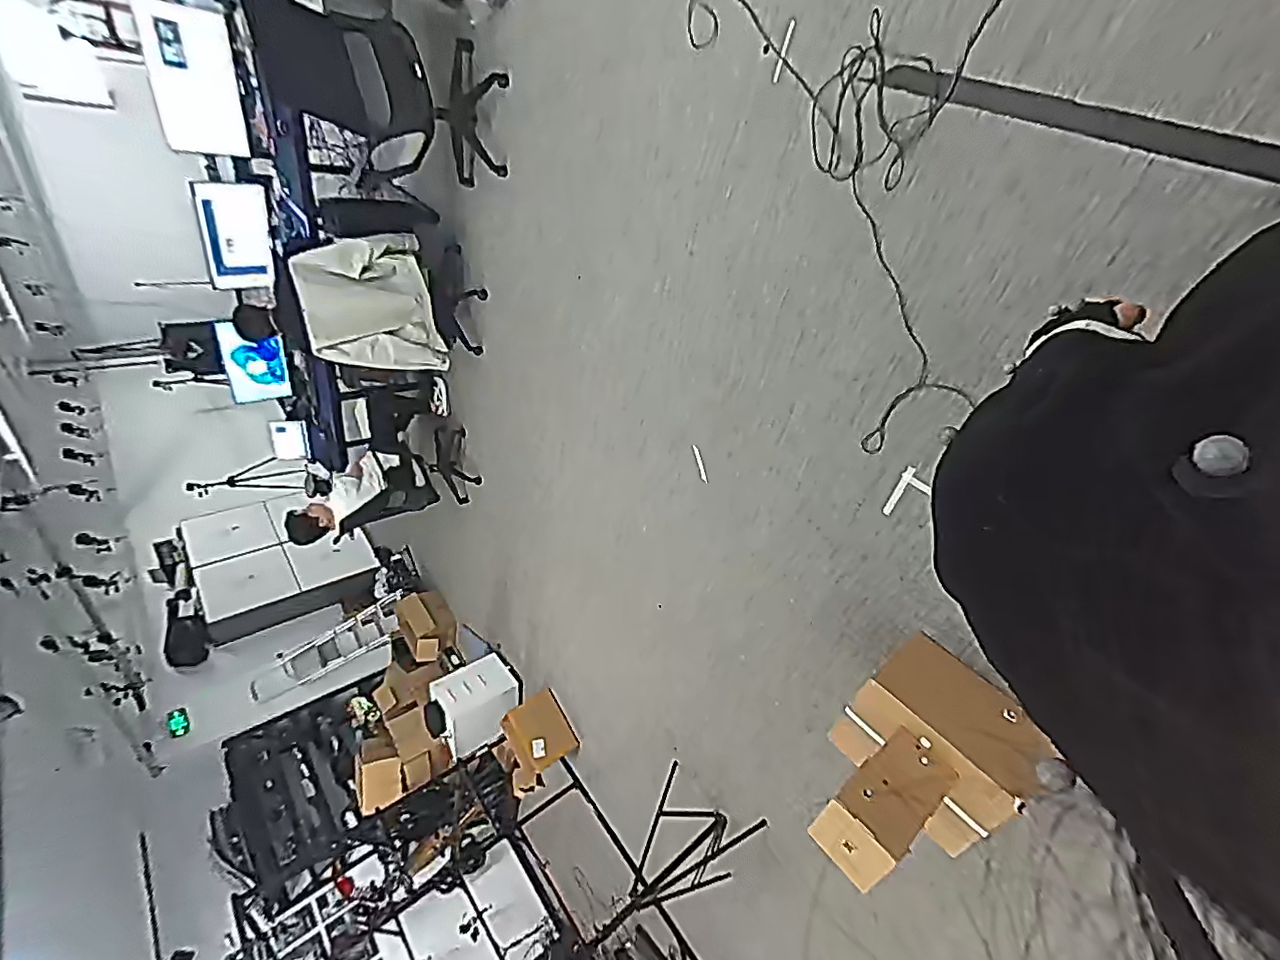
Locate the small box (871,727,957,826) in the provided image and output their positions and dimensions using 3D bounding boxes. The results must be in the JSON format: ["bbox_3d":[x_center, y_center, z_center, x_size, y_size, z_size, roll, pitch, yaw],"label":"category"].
[{"bbox_3d":[0.666,0.775,1.374,0.168,0.176,0.179,40,132,34],"label":"small box"}]

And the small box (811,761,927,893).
[{"bbox_3d":[0.542,0.808,1.274,0.168,0.176,0.179,40,133,35],"label":"small box"}]
